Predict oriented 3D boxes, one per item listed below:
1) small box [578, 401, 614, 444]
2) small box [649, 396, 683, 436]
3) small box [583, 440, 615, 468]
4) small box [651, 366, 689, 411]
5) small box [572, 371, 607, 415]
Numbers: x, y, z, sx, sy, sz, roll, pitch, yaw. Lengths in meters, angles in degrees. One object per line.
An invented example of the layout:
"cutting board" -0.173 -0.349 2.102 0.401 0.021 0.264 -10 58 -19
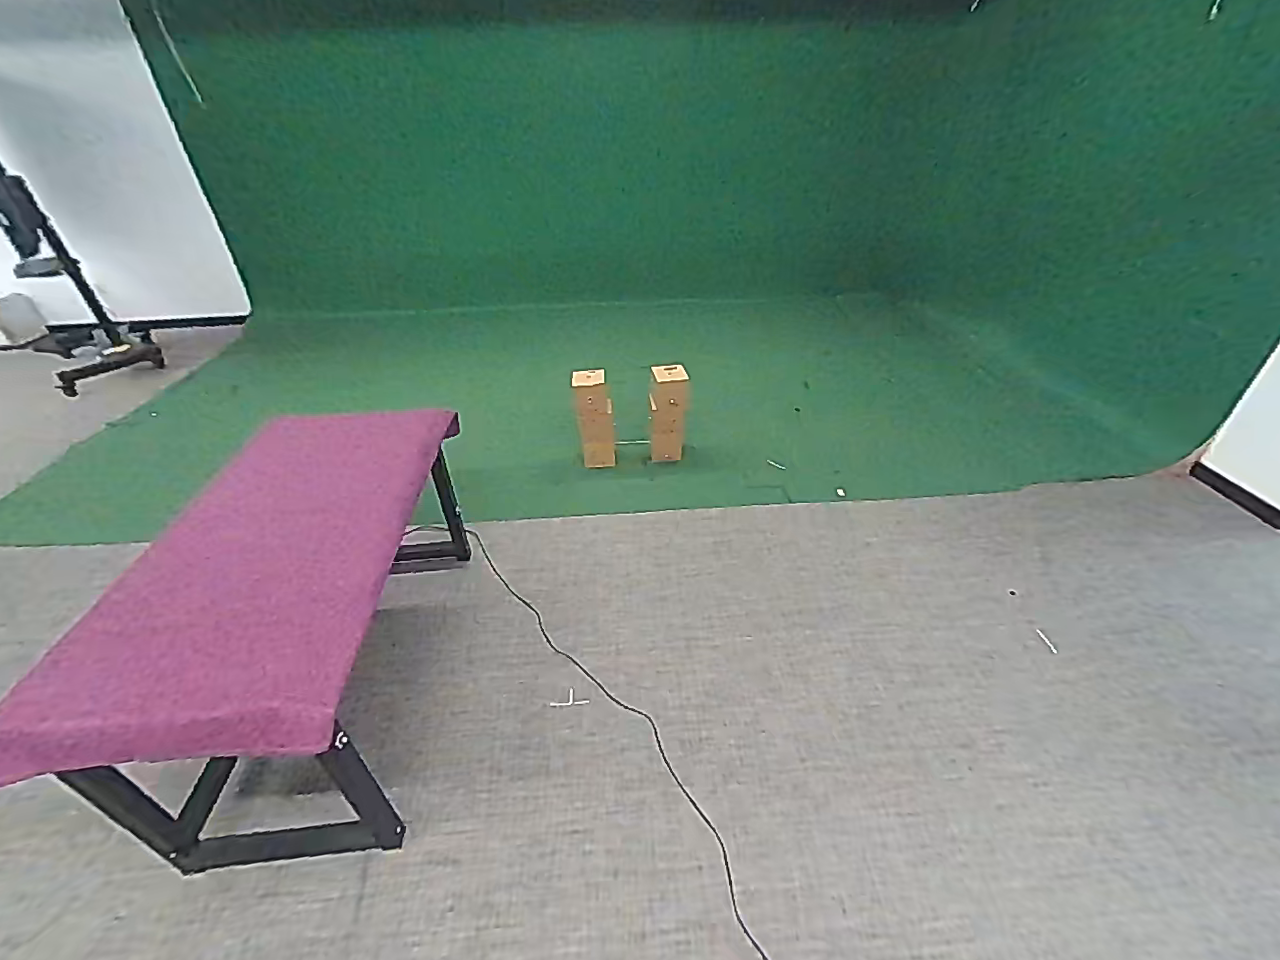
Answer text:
"small box" -0.233 -0.305 2.887 0.179 0.176 0.168 -4 35 -3
"small box" 0.141 -0.345 2.924 0.168 0.176 0.179 -3 36 -4
"small box" -0.226 -0.174 2.986 0.168 0.176 0.179 -5 35 -3
"small box" 0.153 -0.478 2.828 0.168 0.176 0.179 -7 38 -8
"small box" -0.259 -0.446 2.803 0.168 0.176 0.179 -5 36 -2
